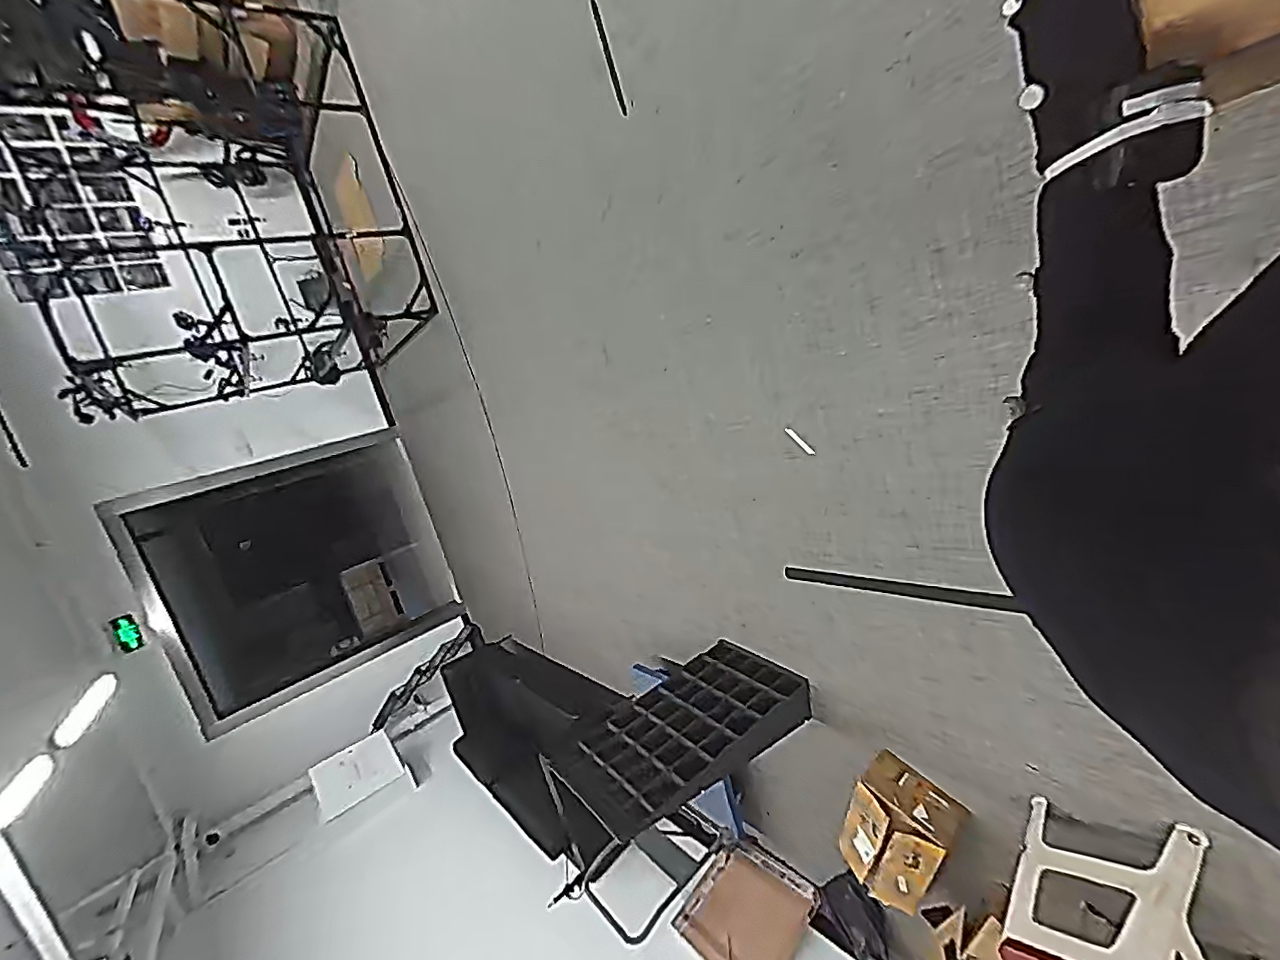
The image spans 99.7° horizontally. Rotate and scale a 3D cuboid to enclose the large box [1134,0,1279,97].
[{"bbox_3d":[0.543,-0.484,0.282,0.408,0.320,0.320,-1,110,53],"label":"large box"}]
